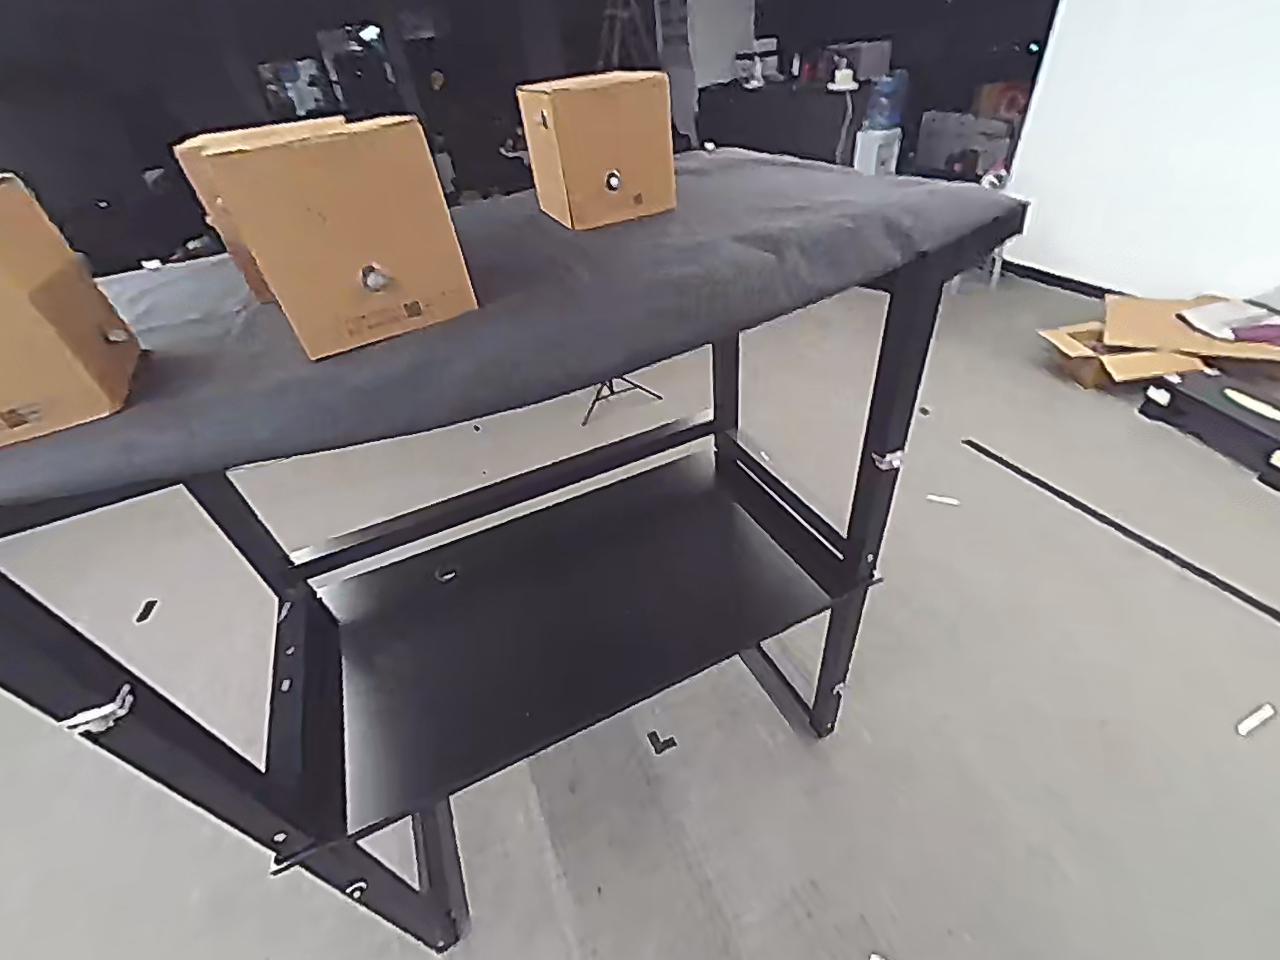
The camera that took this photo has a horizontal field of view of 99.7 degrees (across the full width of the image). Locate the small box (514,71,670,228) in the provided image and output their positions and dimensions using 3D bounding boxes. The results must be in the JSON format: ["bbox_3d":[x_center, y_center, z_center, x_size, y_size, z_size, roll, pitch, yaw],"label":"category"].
[{"bbox_3d":[-0.068,-0.484,0.792,0.168,0.176,0.179,-21,42,-15],"label":"small box"}]

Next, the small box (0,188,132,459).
[{"bbox_3d":[-0.562,-0.117,0.432,0.168,0.176,0.179,-26,43,-21],"label":"small box"}]

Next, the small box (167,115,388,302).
[{"bbox_3d":[-0.431,-0.338,0.679,0.168,0.176,0.179,-19,42,-14],"label":"small box"}]
